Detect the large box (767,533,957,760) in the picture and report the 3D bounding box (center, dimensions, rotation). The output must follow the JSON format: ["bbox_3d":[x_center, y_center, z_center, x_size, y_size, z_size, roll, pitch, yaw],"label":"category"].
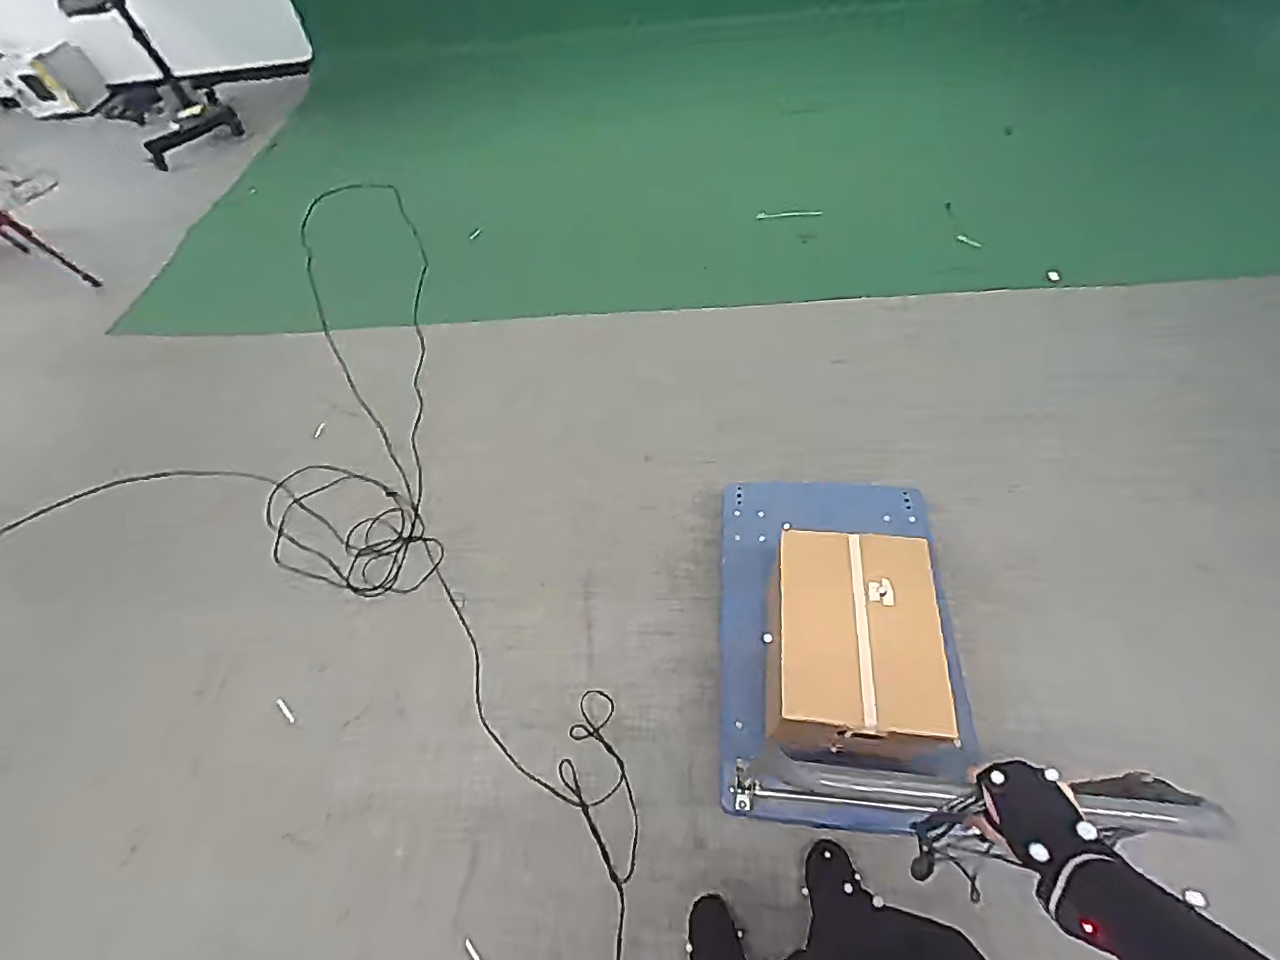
[{"bbox_3d":[0.453,0.374,1.211,0.320,0.320,0.408,4,57,8],"label":"large box"}]
